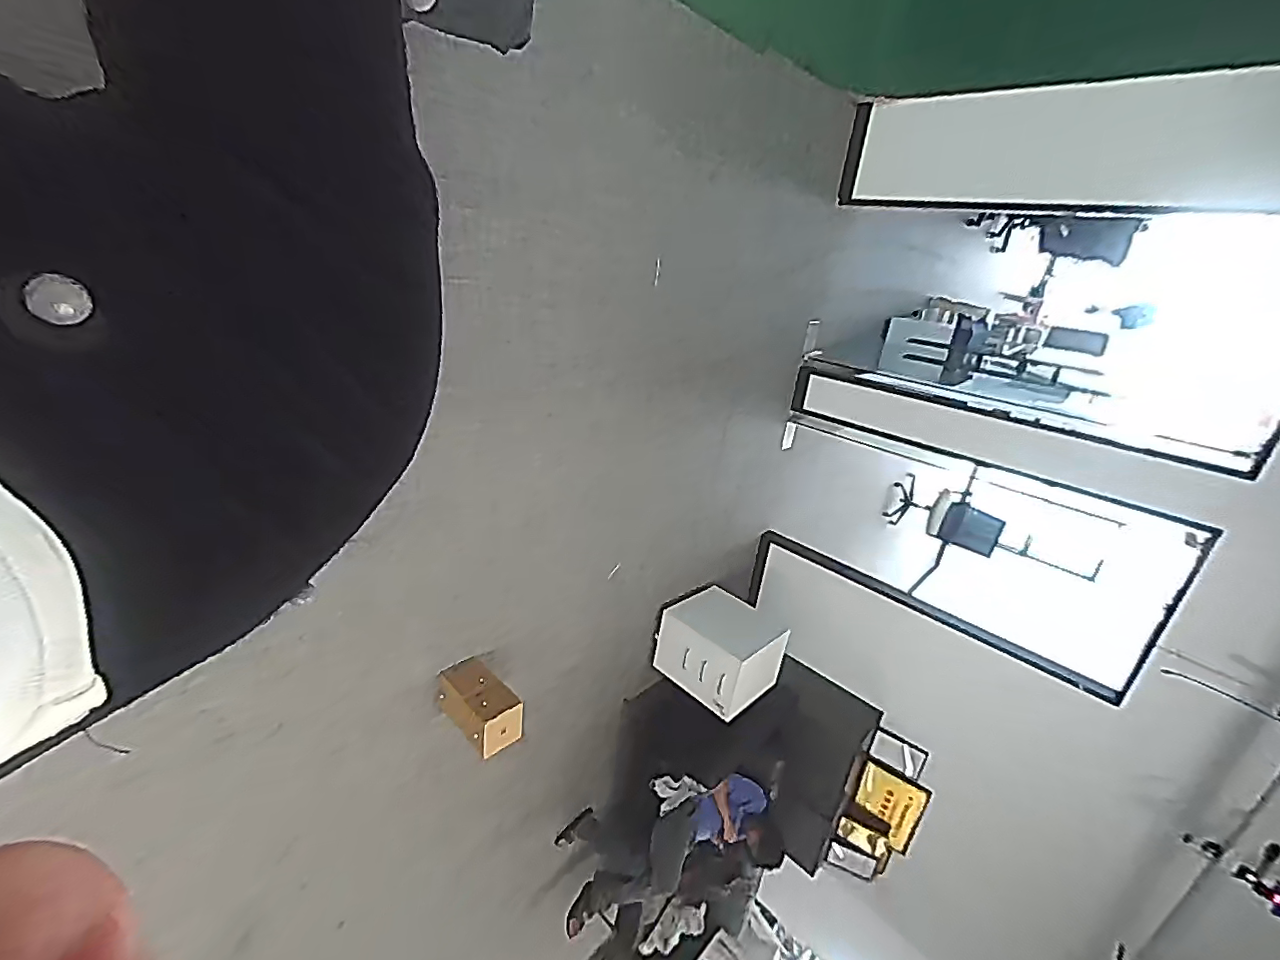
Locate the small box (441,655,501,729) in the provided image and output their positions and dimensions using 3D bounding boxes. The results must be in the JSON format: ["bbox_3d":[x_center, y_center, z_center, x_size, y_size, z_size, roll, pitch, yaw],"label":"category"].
[{"bbox_3d":[-0.674,0.835,2.146,0.168,0.176,0.179,-15,121,-46],"label":"small box"}]

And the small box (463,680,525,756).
[{"bbox_3d":[-0.556,0.891,2.050,0.168,0.176,0.179,-17,124,-44],"label":"small box"}]
